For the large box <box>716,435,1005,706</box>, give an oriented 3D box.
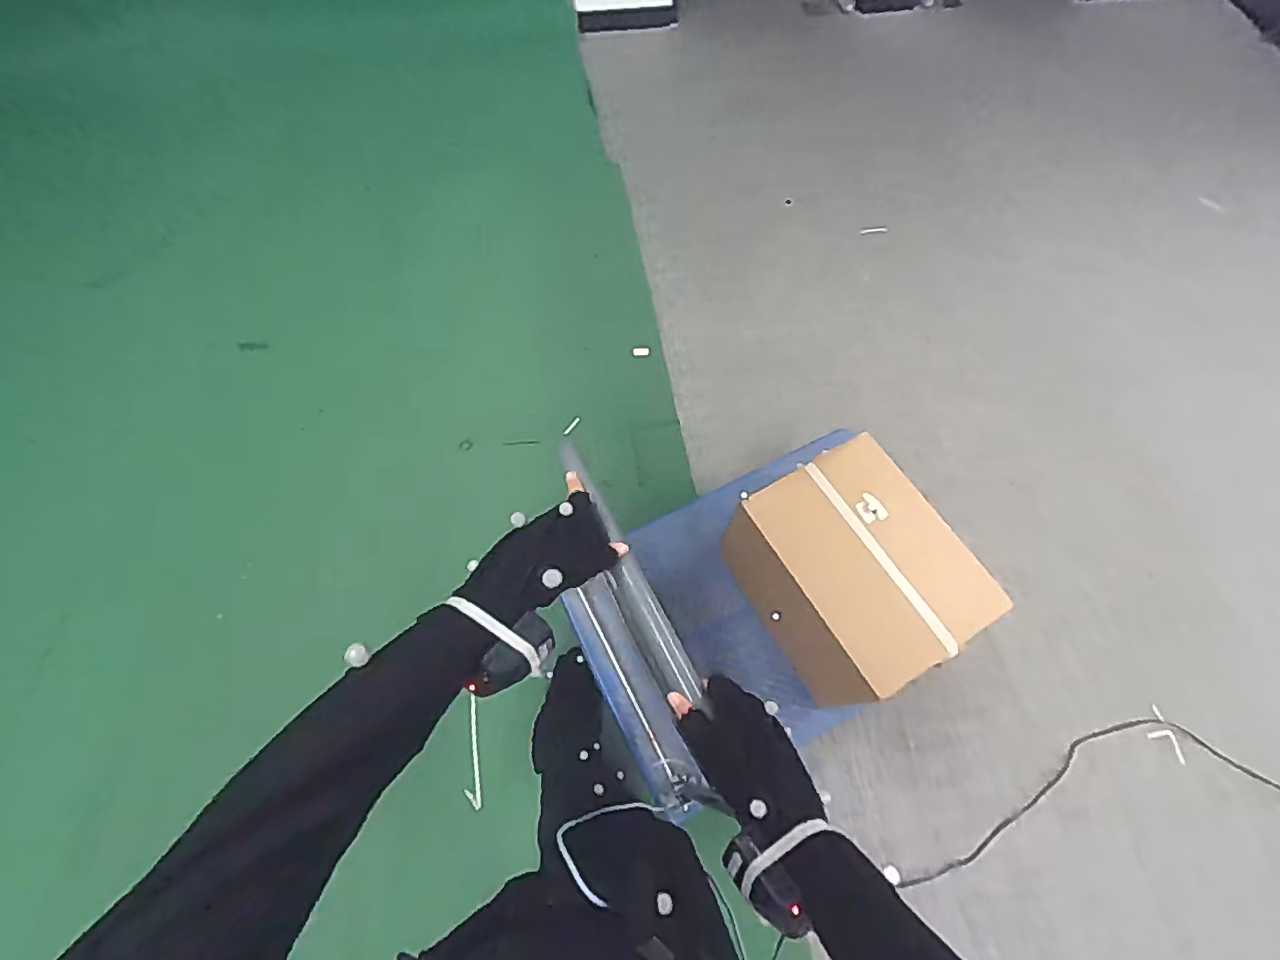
[{"bbox_3d":[0.407,0.194,1.110,0.320,0.320,0.408,-27,67,-14],"label":"large box"}]
